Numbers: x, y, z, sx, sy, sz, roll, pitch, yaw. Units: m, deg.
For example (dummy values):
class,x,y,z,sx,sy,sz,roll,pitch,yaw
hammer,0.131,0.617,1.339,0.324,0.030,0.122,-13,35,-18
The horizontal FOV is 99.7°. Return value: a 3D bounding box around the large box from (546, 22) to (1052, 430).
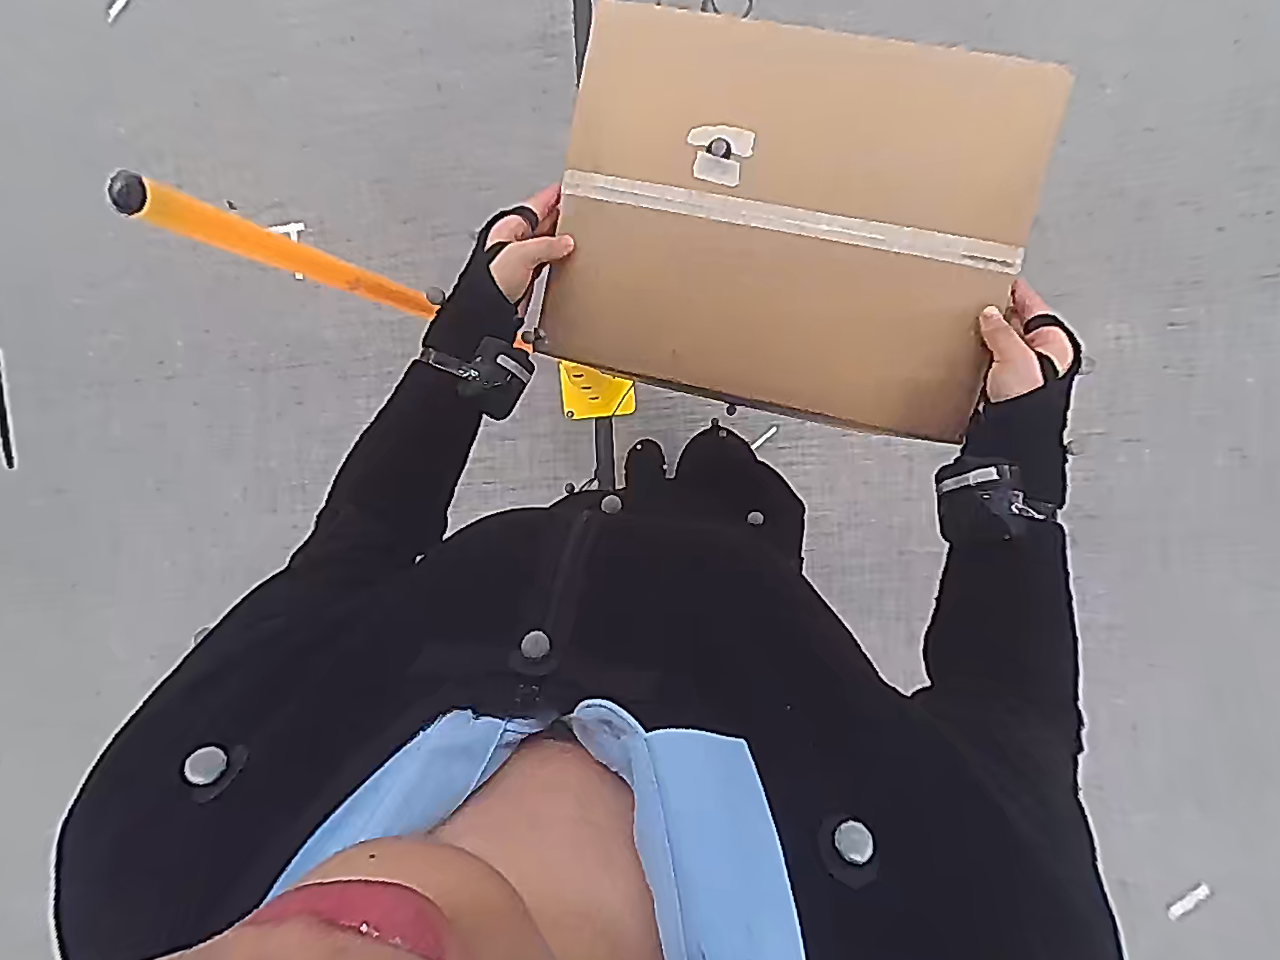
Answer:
class,x,y,z,sx,sy,sz,roll,pitch,yaw
large box,0.149,-0.250,0.642,0.408,0.320,0.320,13,97,6
